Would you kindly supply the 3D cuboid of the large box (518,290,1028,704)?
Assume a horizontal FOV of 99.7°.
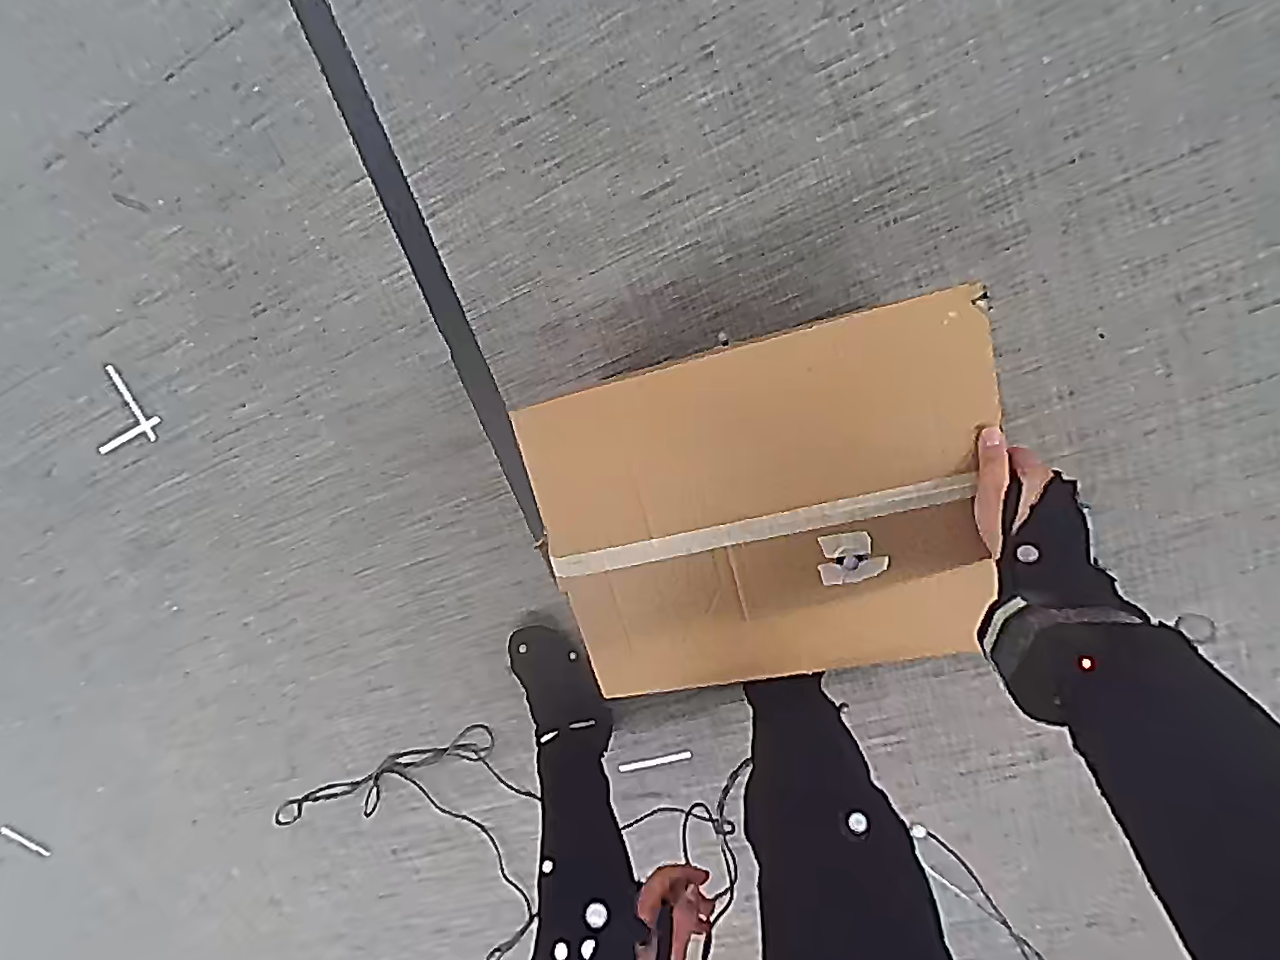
[{"bbox_3d":[0.136,0.008,0.632,0.408,0.320,0.320,-14,102,13],"label":"large box"}]
